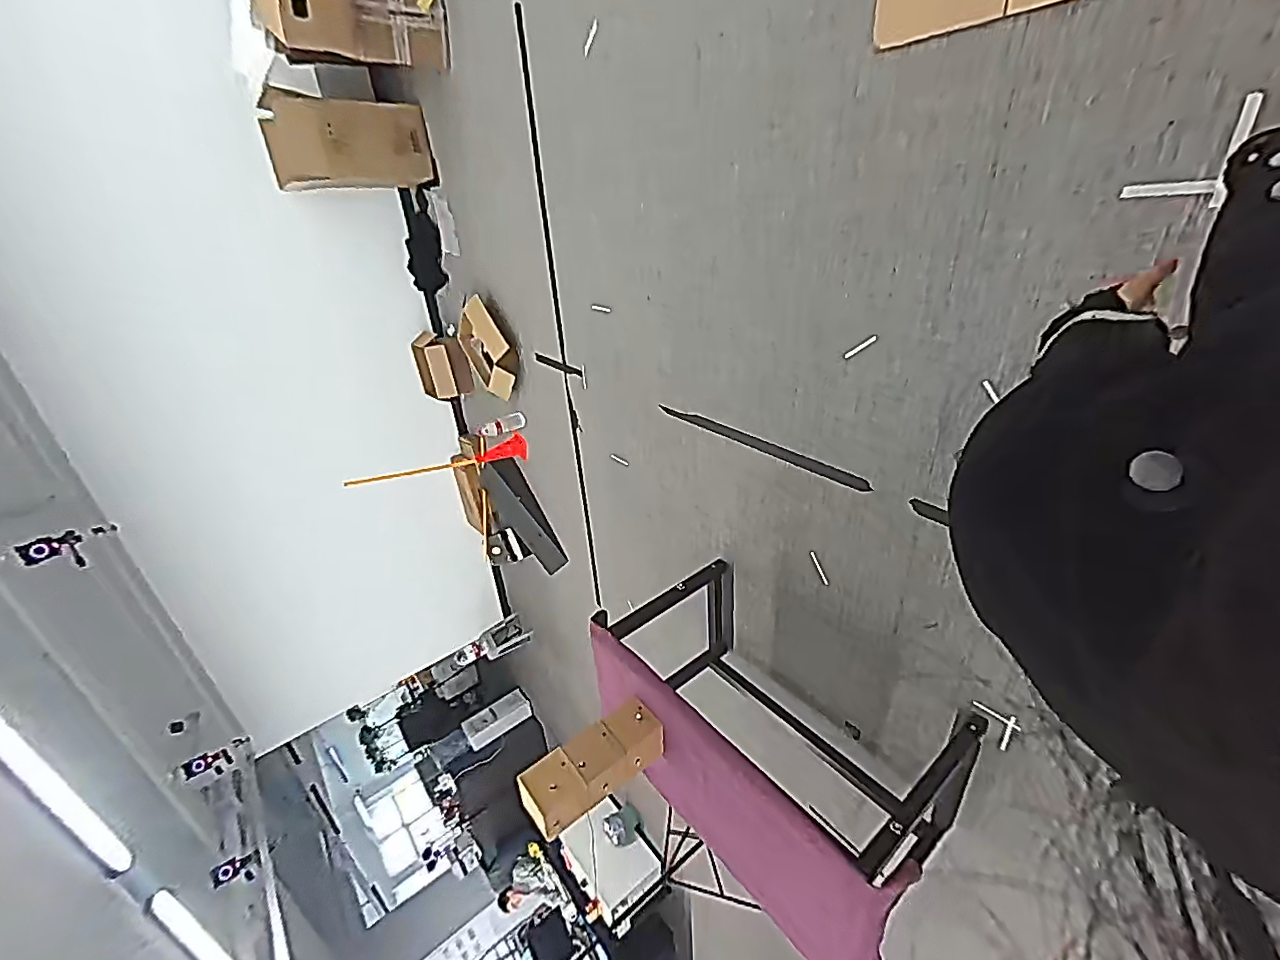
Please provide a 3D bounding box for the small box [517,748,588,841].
[{"bbox_3d":[-0.287,1.039,1.800,0.168,0.176,0.179,33,136,41],"label":"small box"}]

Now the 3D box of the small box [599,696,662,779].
[{"bbox_3d":[-0.032,0.937,1.977,0.168,0.176,0.179,31,134,42],"label":"small box"}]

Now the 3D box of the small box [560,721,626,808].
[{"bbox_3d":[-0.160,0.989,1.889,0.168,0.176,0.179,33,136,40],"label":"small box"}]
